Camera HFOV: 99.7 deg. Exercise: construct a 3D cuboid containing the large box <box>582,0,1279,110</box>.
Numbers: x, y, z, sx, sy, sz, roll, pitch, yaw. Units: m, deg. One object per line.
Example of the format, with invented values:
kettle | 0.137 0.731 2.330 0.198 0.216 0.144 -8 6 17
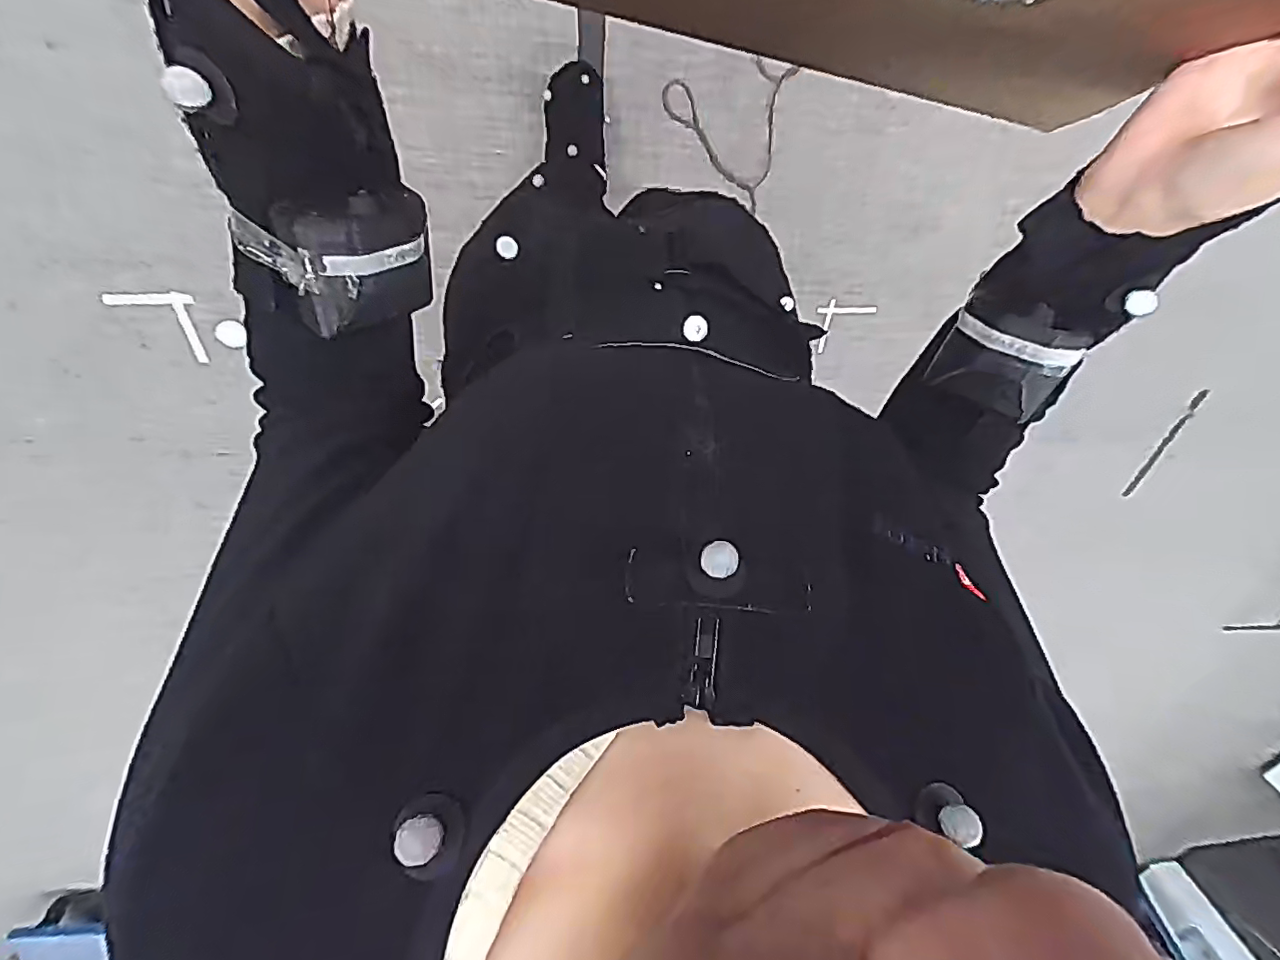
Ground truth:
large box | 0.094 -0.354 0.121 0.408 0.320 0.320 5 104 -11
